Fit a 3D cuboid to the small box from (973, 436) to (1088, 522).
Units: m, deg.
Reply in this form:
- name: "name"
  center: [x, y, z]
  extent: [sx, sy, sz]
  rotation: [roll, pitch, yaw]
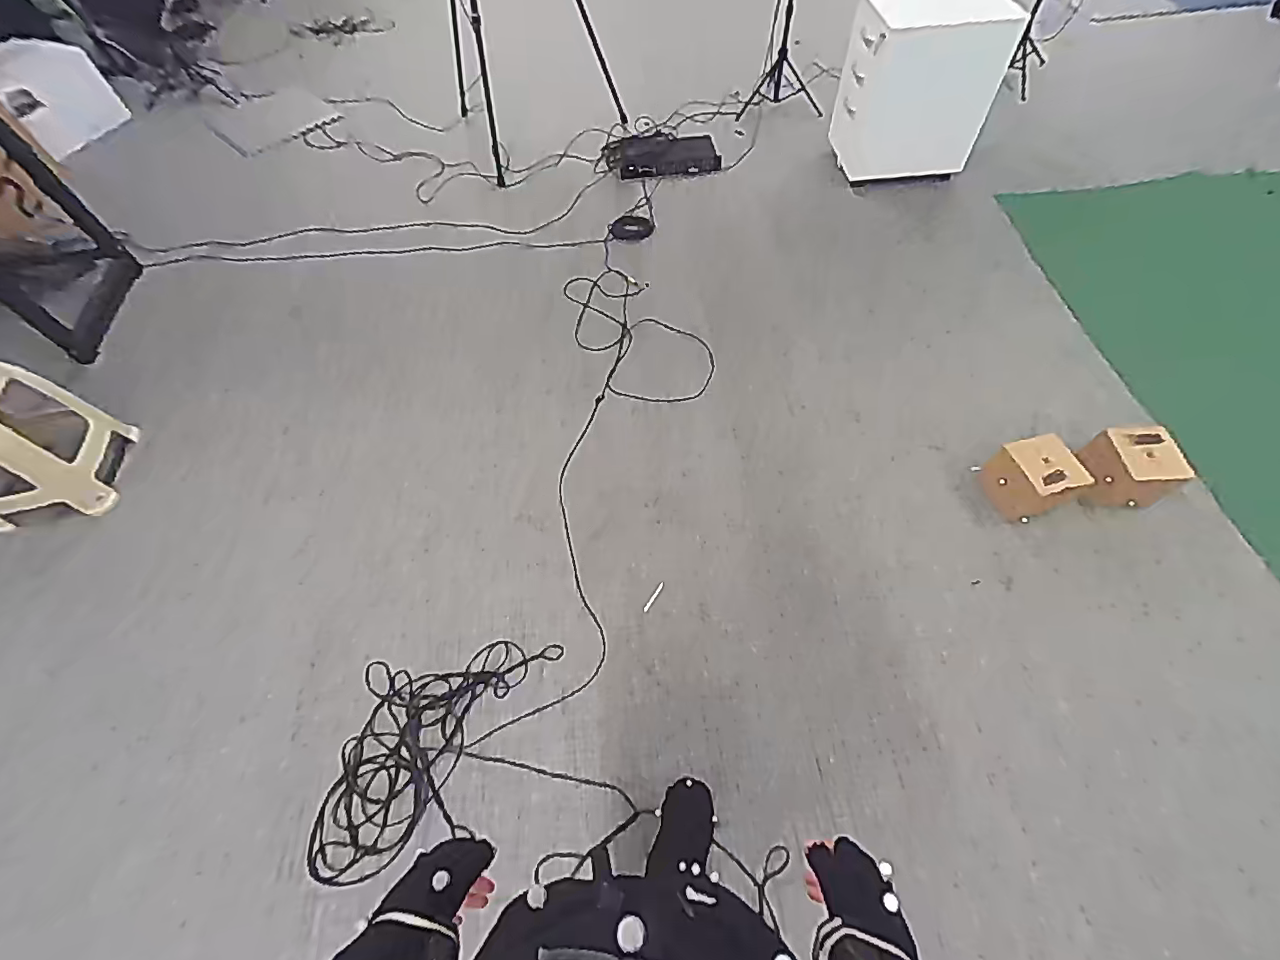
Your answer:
- name: "small box"
  center: [1.106, 0.004, 1.547]
  extent: [0.168, 0.176, 0.179]
  rotation: [-13, 58, -6]
